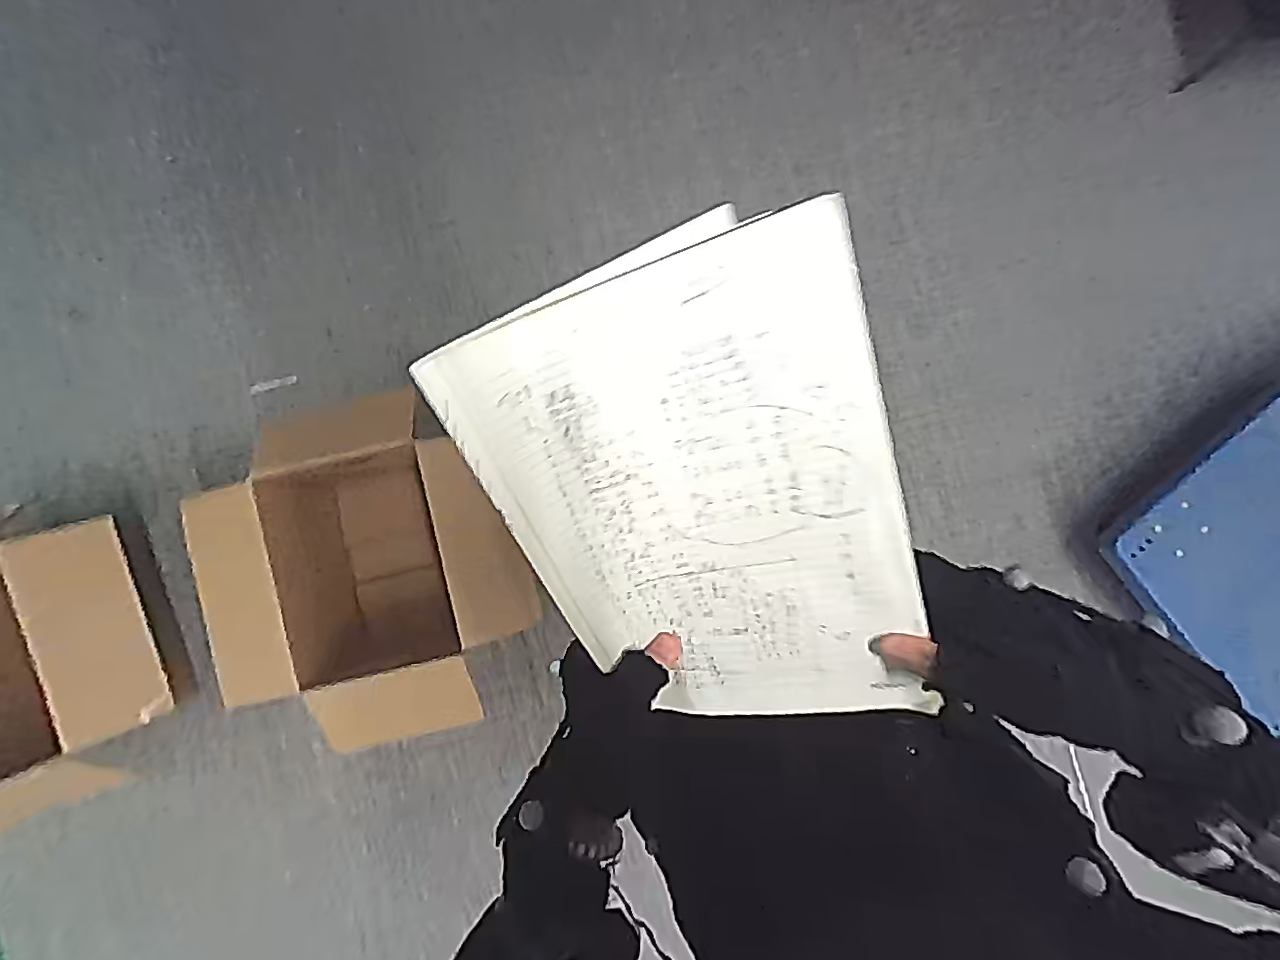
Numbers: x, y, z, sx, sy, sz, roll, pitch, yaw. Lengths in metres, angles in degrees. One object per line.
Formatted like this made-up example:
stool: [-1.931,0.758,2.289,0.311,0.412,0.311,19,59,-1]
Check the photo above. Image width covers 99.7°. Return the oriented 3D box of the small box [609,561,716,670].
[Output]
small box: [0.049,0.305,1.242,0.179,0.176,0.168,43,97,18]
